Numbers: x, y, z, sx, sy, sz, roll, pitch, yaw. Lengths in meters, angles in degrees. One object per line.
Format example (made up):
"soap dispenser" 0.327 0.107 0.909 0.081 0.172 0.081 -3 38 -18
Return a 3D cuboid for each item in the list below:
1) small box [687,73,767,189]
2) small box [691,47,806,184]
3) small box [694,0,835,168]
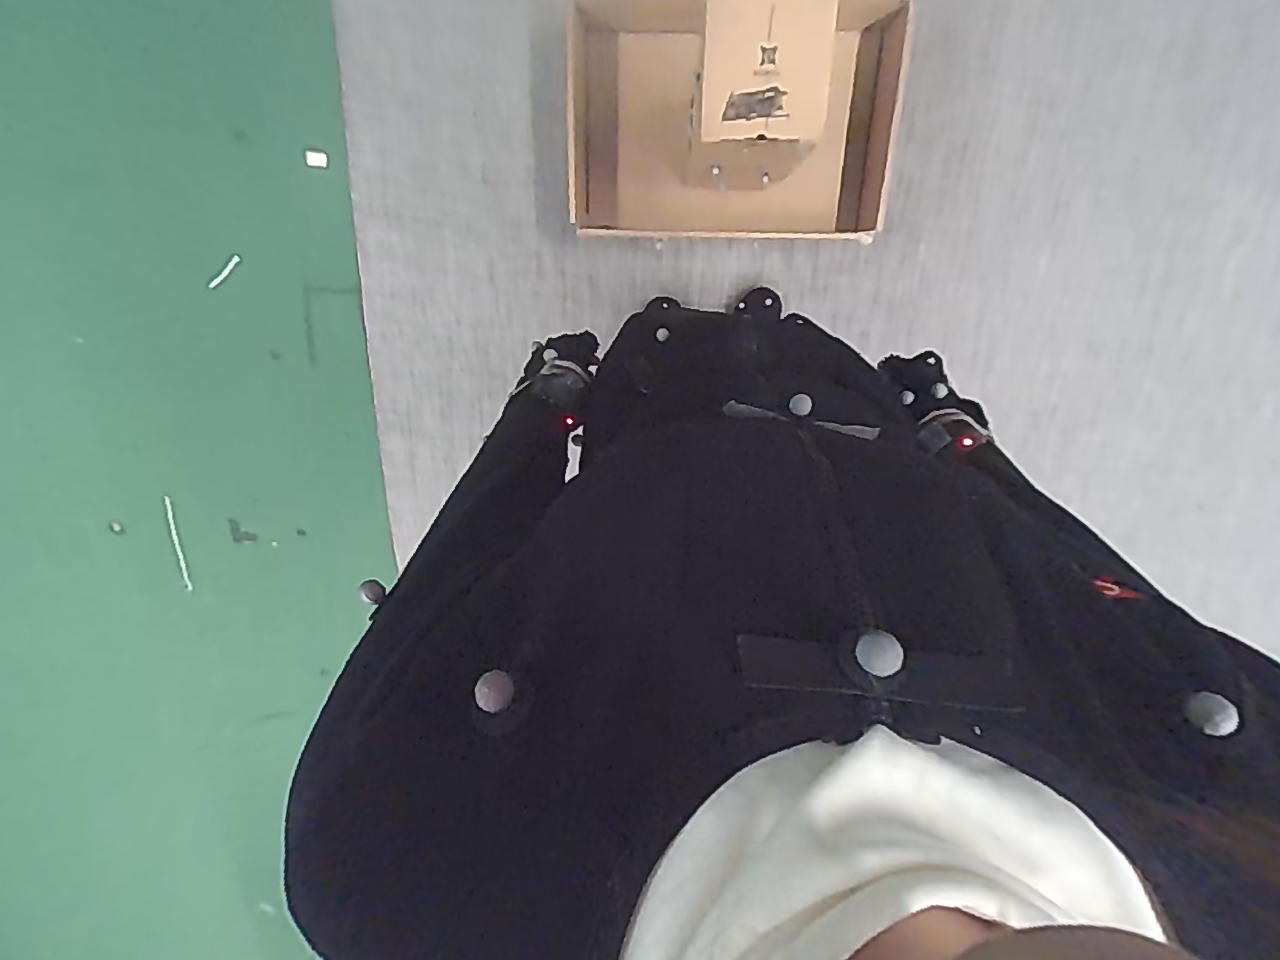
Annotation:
"small box" 0.184 -0.689 1.081 0.179 0.176 0.168 1 109 3
"small box" 0.178 -0.610 0.917 0.179 0.176 0.168 -1 109 4
"small box" 0.166 -0.562 0.778 0.168 0.176 0.179 2 108 3
